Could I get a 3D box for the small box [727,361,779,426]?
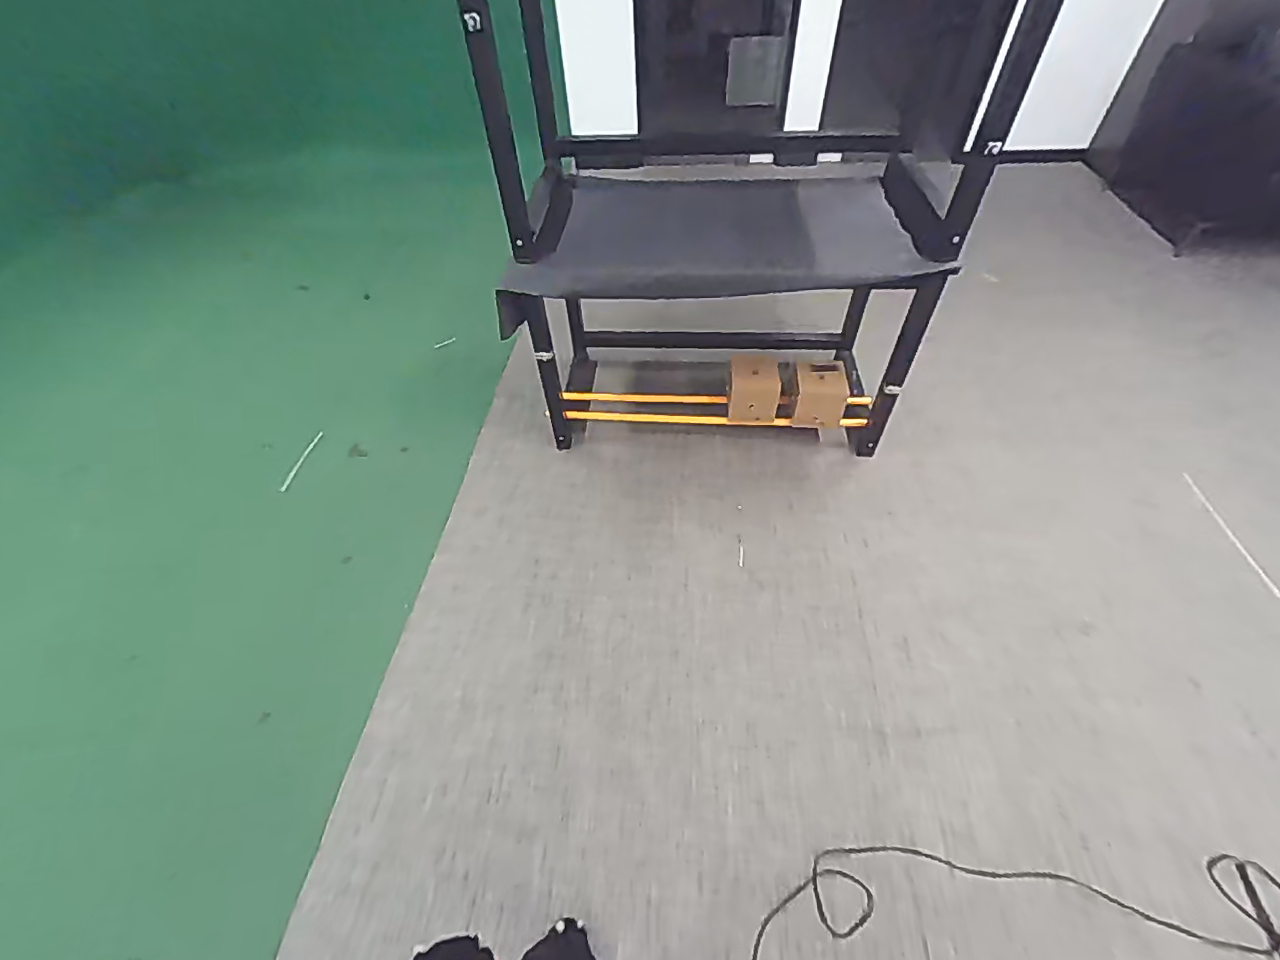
[{"bbox_3d":[0.403,-0.311,1.952,0.168,0.176,0.179,2,50,4],"label":"small box"}]
